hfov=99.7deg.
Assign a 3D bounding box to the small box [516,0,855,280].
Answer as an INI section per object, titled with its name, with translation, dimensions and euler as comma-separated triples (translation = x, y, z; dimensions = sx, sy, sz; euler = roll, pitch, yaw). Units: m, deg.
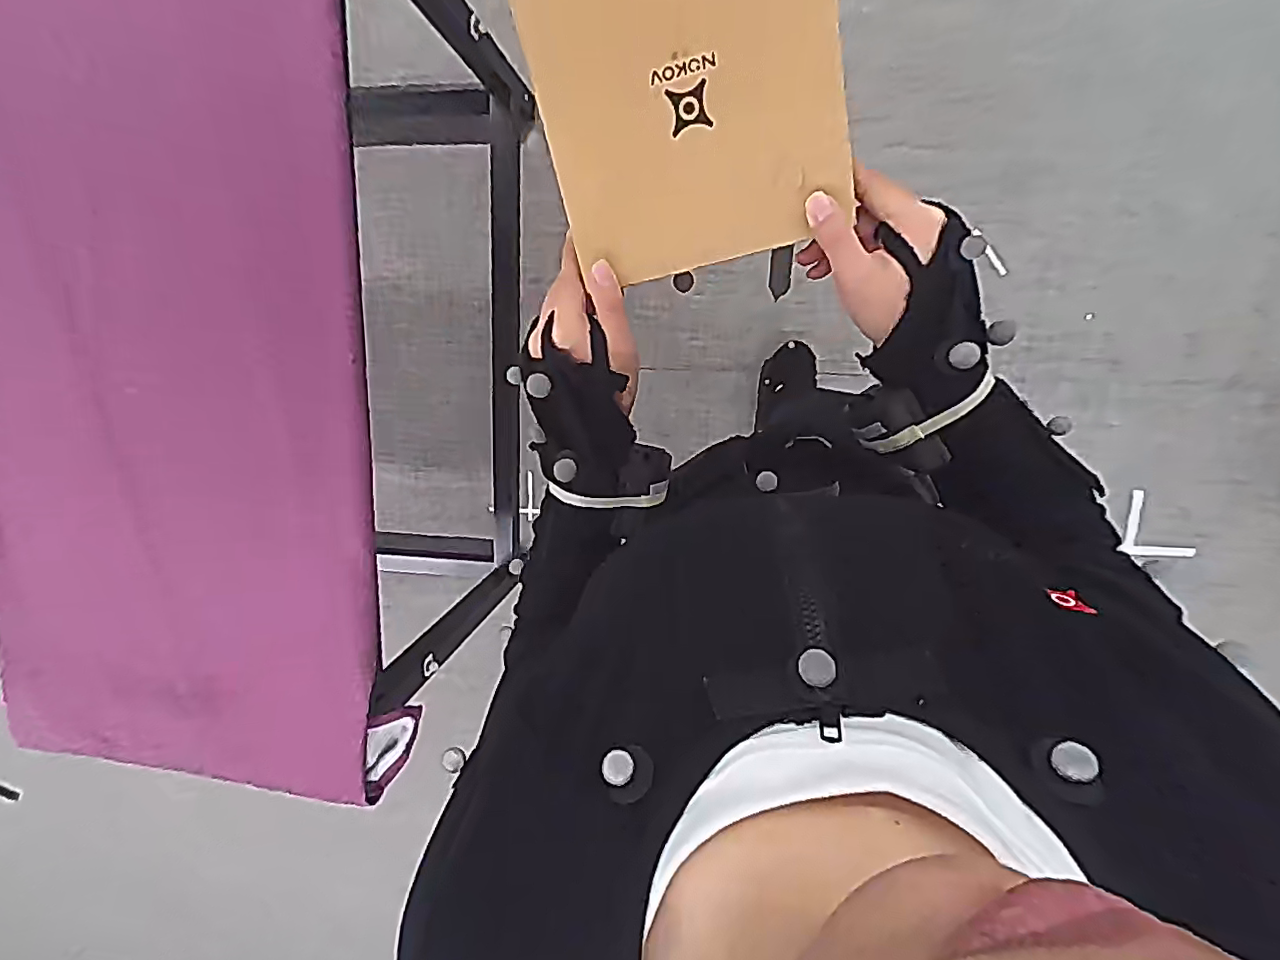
[small box]
translation = 0.033, -0.248, 0.366
dimensions = 0.168, 0.176, 0.179
euler = -12, 110, 9
